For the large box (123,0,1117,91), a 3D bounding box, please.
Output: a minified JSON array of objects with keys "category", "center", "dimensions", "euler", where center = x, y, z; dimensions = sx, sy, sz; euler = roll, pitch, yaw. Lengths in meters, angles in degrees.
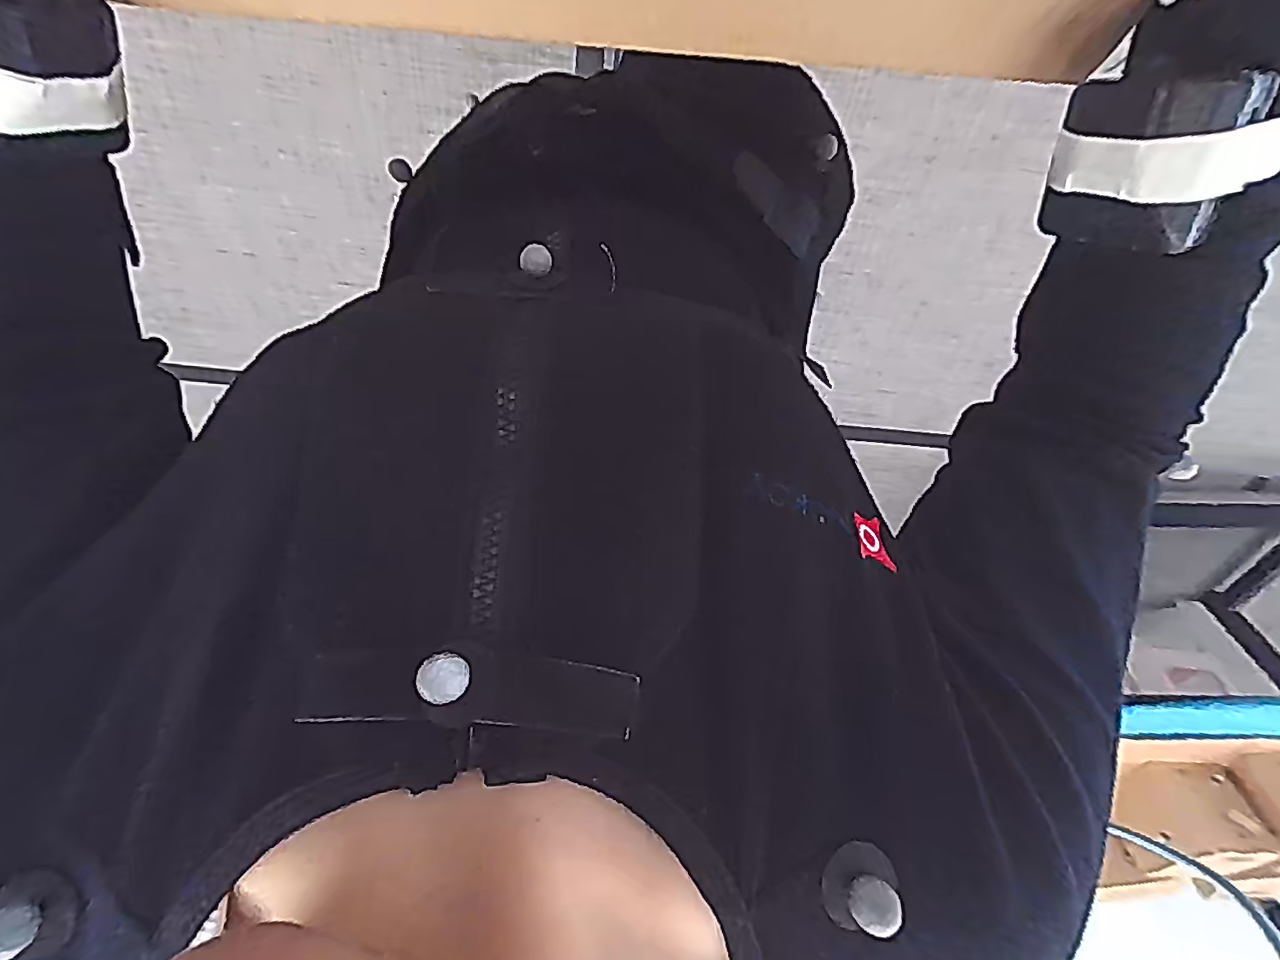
[{"category":"large box","center":[0.003,-0.372,0.143],"dimensions":[0.408,0.320,0.320],"euler":[0,160,-5]}]
